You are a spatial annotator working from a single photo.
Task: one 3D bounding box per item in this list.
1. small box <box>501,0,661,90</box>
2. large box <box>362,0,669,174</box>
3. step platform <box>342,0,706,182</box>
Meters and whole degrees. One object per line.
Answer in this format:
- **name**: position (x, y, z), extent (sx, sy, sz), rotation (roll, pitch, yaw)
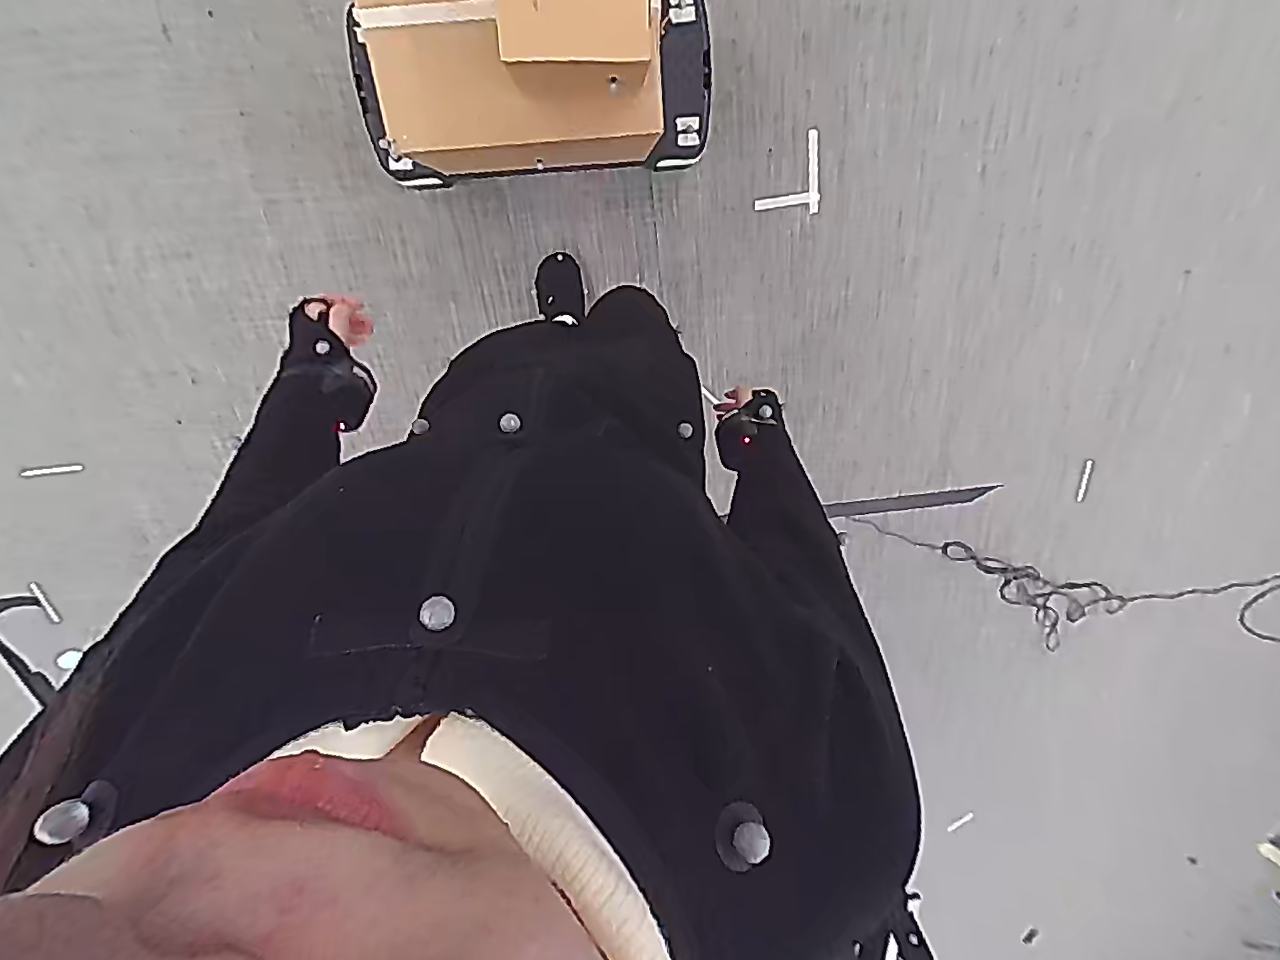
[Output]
- **small box**: position (-0.071, -0.587, 0.648), extent (0.179, 0.176, 0.168), rotation (-2, 114, -3)
- **large box**: position (-0.176, -0.693, 0.861), extent (0.408, 0.320, 0.320), rotation (-6, 113, -1)
- **step platform**: position (-0.209, -0.773, 1.085), extent (0.684, 0.204, 0.286), rotation (-1, 114, -3)
